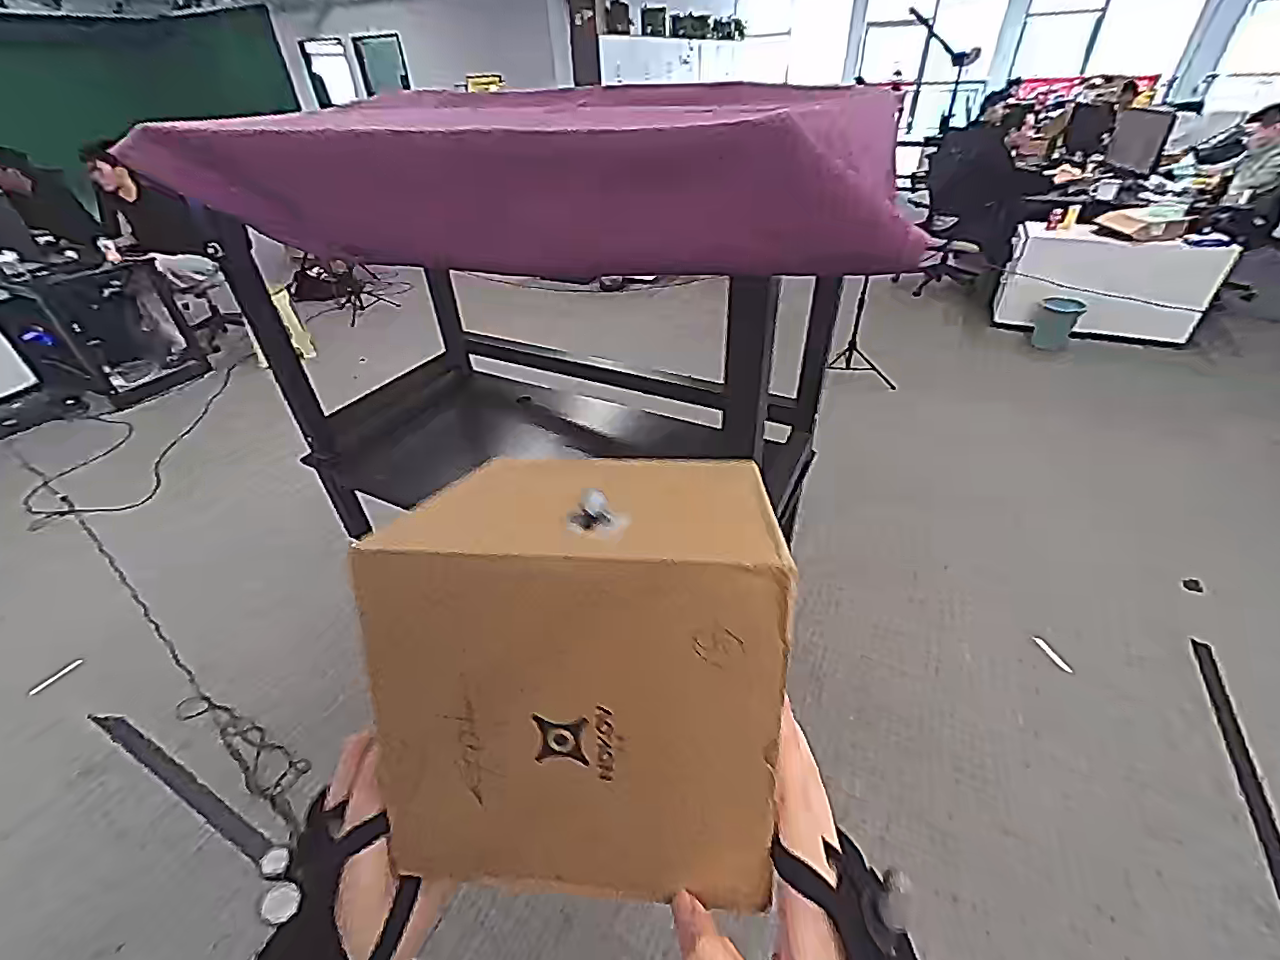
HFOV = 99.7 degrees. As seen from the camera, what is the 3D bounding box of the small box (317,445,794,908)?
[{"bbox_3d":[-0.026,0.078,0.290,0.179,0.168,0.176,2,15,6],"label":"small box"}]
